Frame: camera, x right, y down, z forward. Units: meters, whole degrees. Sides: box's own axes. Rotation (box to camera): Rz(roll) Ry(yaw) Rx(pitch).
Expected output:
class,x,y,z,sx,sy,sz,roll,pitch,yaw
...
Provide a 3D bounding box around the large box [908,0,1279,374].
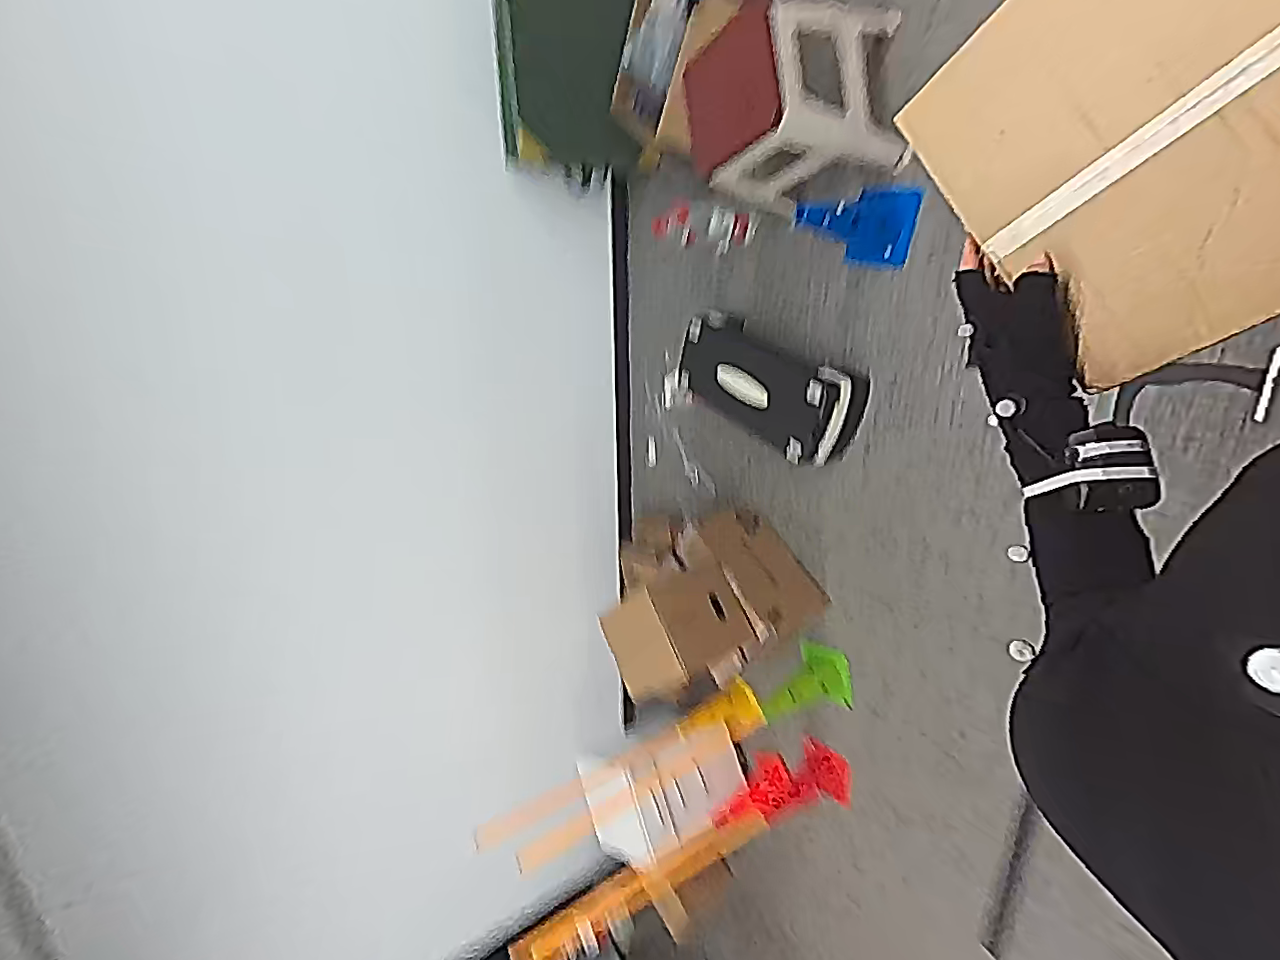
class,x,y,z,sx,sy,sz,roll,pitch,yaw
large box,0.522,-0.343,0.425,0.408,0.320,0.320,-36,81,51
